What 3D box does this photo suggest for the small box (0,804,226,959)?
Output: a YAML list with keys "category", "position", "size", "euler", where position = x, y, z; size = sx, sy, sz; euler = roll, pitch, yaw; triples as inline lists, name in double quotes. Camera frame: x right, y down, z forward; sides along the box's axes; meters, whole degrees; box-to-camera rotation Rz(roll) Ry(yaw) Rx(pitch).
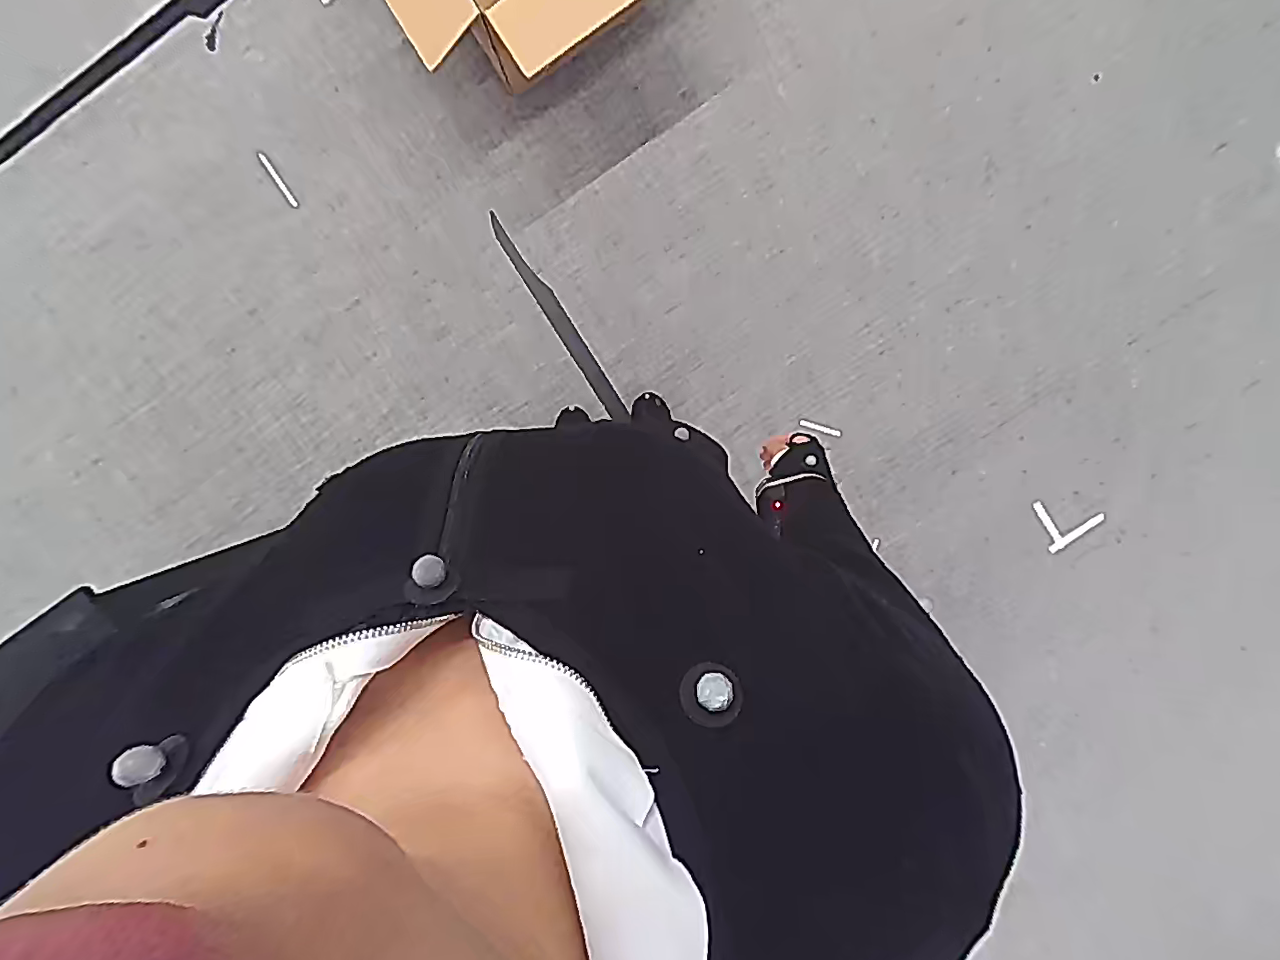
- category: "small box"
  position: [-0.751, 0.597, 0.757]
  size: [0.168, 0.176, 0.179]
  euler: [-34, 97, 5]
